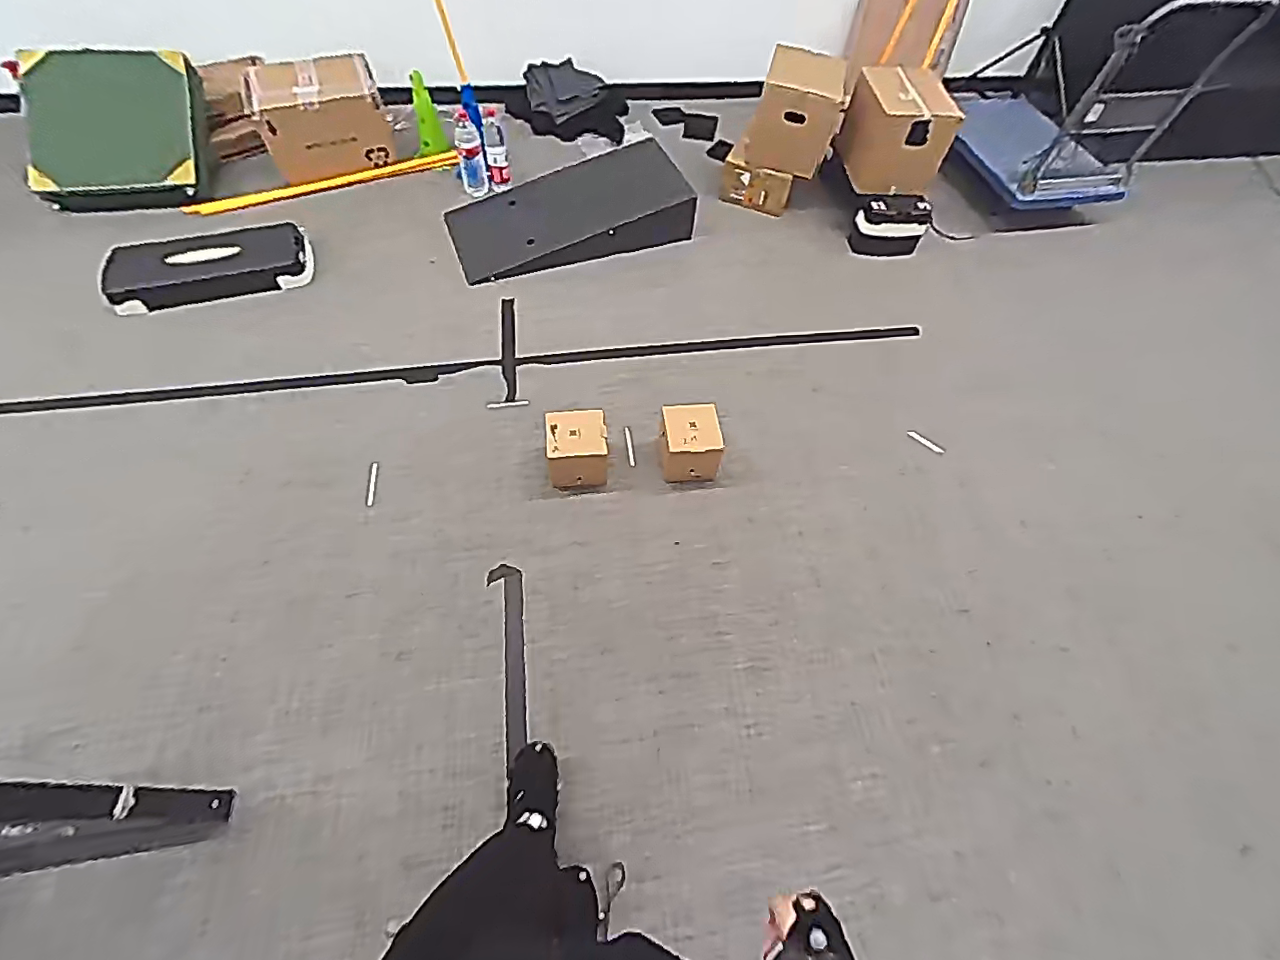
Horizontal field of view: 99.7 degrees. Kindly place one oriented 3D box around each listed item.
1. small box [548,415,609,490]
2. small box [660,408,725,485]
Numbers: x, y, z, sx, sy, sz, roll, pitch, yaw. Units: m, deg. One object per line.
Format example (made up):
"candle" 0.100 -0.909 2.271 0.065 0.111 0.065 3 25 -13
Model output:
"small box" -0.189 -0.081 1.651 0.179 0.176 0.168 -3 58 -7
"small box" 0.156 -0.104 1.687 0.168 0.176 0.179 -4 59 -6
